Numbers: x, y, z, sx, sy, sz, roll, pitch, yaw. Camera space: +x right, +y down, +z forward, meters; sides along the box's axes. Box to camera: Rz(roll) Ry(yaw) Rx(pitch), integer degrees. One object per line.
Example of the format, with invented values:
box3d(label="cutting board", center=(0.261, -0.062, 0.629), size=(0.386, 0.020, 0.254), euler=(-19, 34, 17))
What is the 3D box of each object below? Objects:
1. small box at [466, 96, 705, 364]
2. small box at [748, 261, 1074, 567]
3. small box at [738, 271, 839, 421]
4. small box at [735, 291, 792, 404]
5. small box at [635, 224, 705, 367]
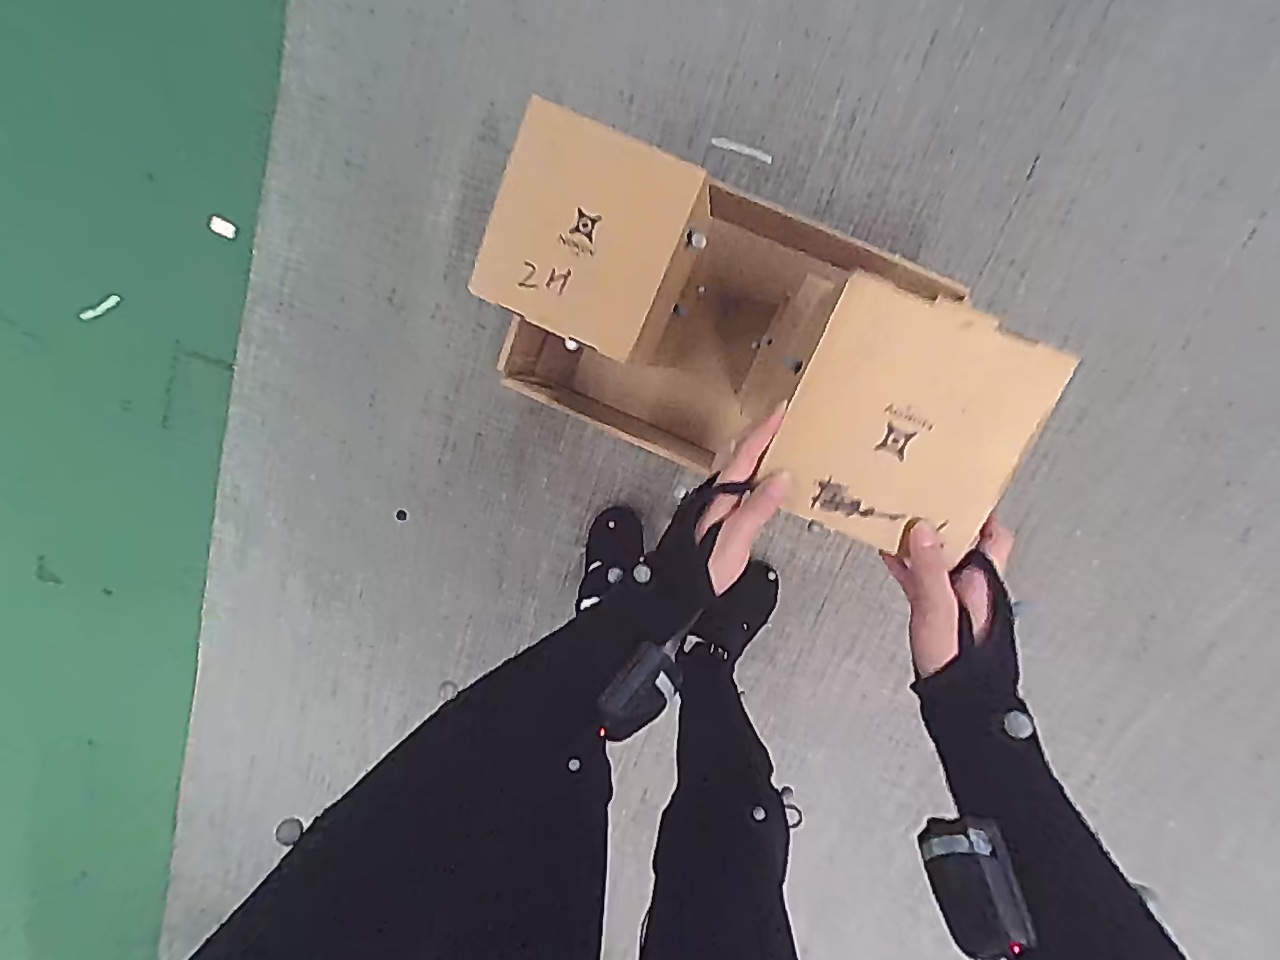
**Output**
box3d(label="small box", center=(-0.043, -0.232, 0.551), size=(0.168, 0.176, 0.179), euler=(25, 104, 3))
box3d(label="small box", center=(0.199, -0.059, 0.465), size=(0.168, 0.176, 0.179), euler=(24, 105, 4))
box3d(label="small box", center=(0.238, -0.138, 0.693), size=(0.168, 0.176, 0.179), euler=(25, 104, 5))
box3d(label="small box", center=(0.259, -0.174, 0.852), size=(0.168, 0.176, 0.179), euler=(25, 106, 5))
box3d(label="small box", center=(-0.024, -0.263, 0.712), size=(0.168, 0.176, 0.179), euler=(24, 104, 3))
